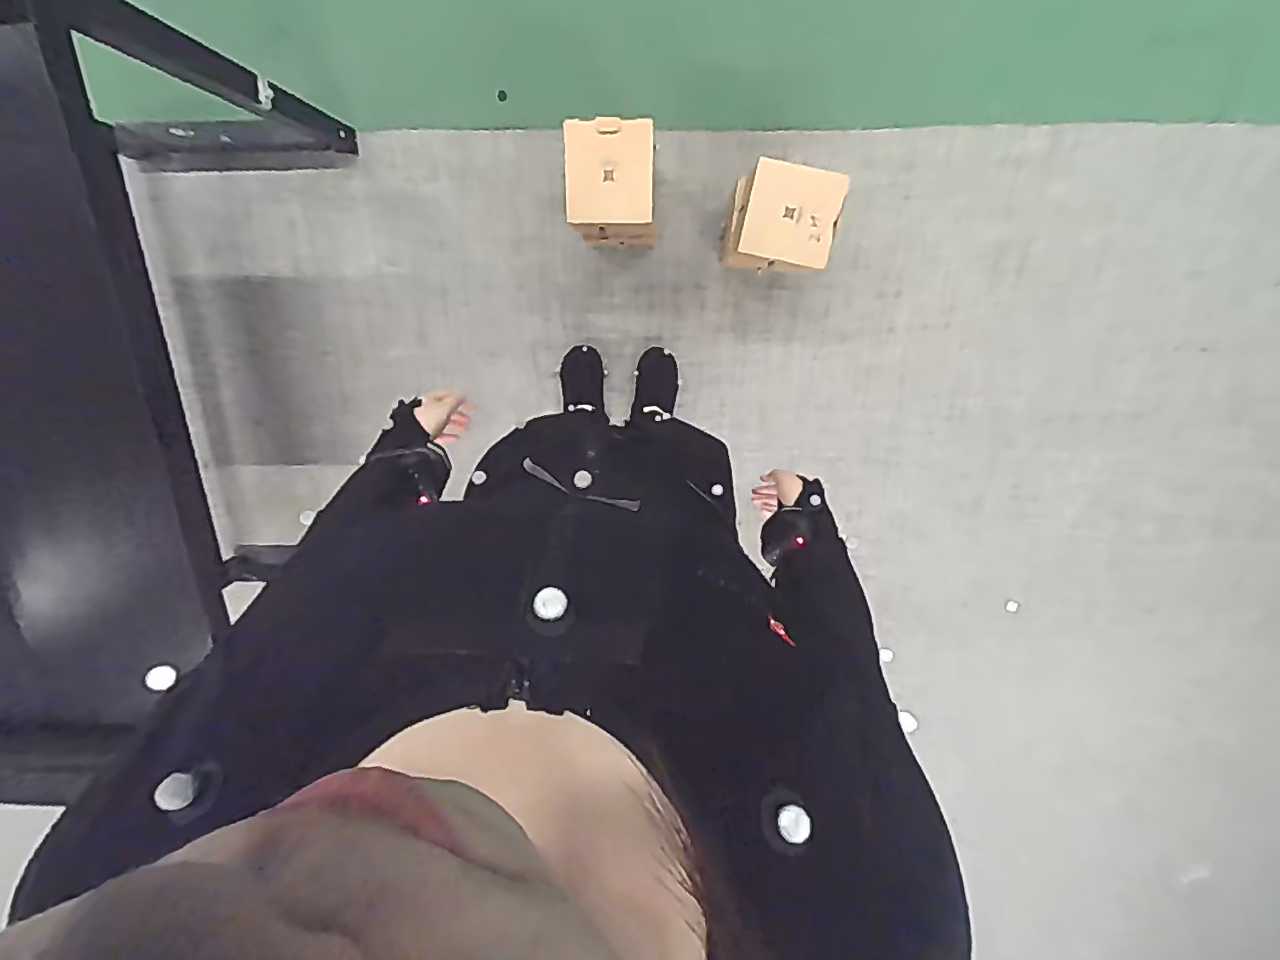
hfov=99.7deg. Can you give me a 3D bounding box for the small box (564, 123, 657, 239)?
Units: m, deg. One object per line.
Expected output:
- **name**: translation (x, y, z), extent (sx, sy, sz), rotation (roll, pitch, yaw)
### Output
- **small box**: translation (-0.051, -0.580, 1.072), extent (0.168, 0.176, 0.179), rotation (0, 106, 3)

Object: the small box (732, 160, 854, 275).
- **small box**: translation (0.291, -0.510, 1.076), extent (0.179, 0.176, 0.168), rotation (11, 109, -1)

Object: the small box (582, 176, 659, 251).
- **small box**: translation (-0.042, -0.621, 1.230), extent (0.168, 0.176, 0.179), rotation (-1, 107, 3)
